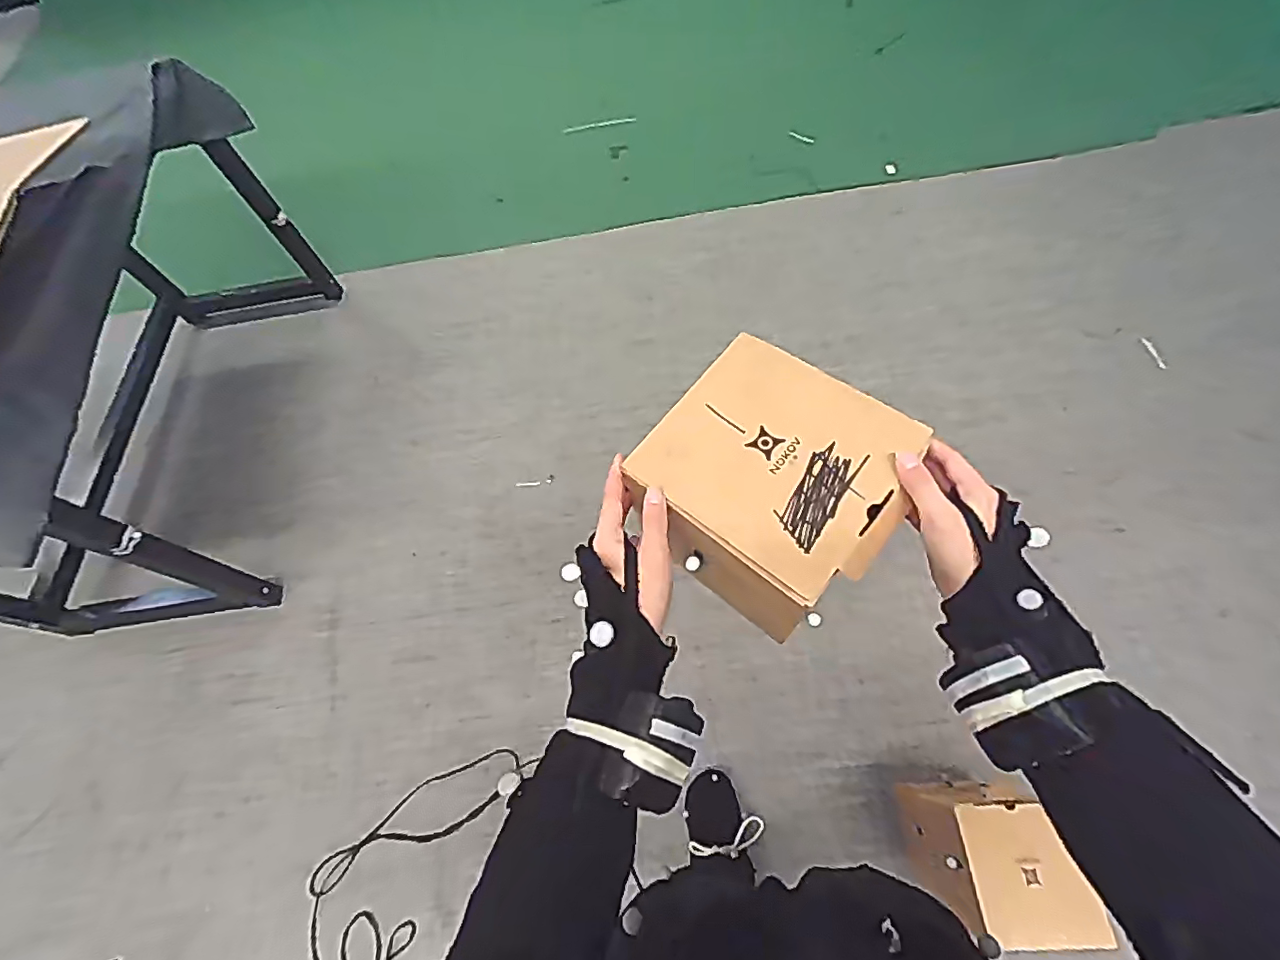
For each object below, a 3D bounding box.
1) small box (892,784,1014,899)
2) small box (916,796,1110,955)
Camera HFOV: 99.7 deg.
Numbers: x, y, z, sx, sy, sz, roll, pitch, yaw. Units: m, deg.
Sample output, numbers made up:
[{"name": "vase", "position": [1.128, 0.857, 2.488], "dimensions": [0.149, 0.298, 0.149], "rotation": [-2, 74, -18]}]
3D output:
[{"name": "small box", "position": [0.587, 0.663, 0.993], "dimensions": [0.168, 0.176, 0.179], "rotation": [-5, 61, 4]}, {"name": "small box", "position": [0.560, 0.601, 0.843], "dimensions": [0.168, 0.176, 0.179], "rotation": [-5, 62, 4]}]
